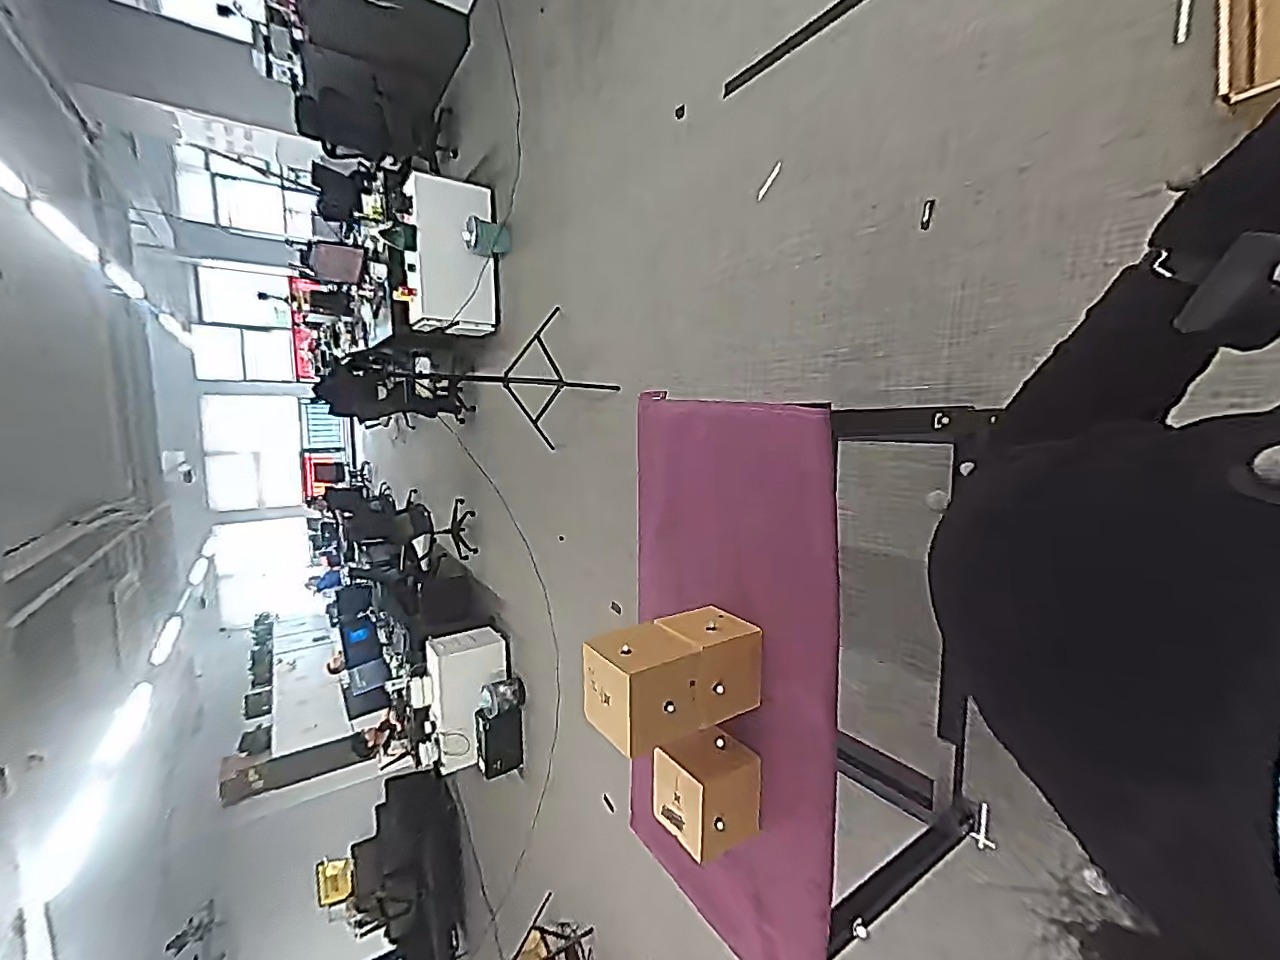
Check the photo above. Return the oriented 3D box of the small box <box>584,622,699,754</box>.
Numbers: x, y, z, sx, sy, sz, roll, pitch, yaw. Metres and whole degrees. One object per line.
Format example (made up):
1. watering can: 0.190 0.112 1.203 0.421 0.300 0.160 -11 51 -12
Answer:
1. small box: 0.003 0.399 1.076 0.179 0.176 0.168 12 104 56

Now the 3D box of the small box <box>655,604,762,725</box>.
1. small box: 0.145 0.382 1.159 0.168 0.176 0.179 12 105 55

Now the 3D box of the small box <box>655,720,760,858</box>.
1. small box: 0.147 0.666 1.189 0.168 0.176 0.179 11 103 55
